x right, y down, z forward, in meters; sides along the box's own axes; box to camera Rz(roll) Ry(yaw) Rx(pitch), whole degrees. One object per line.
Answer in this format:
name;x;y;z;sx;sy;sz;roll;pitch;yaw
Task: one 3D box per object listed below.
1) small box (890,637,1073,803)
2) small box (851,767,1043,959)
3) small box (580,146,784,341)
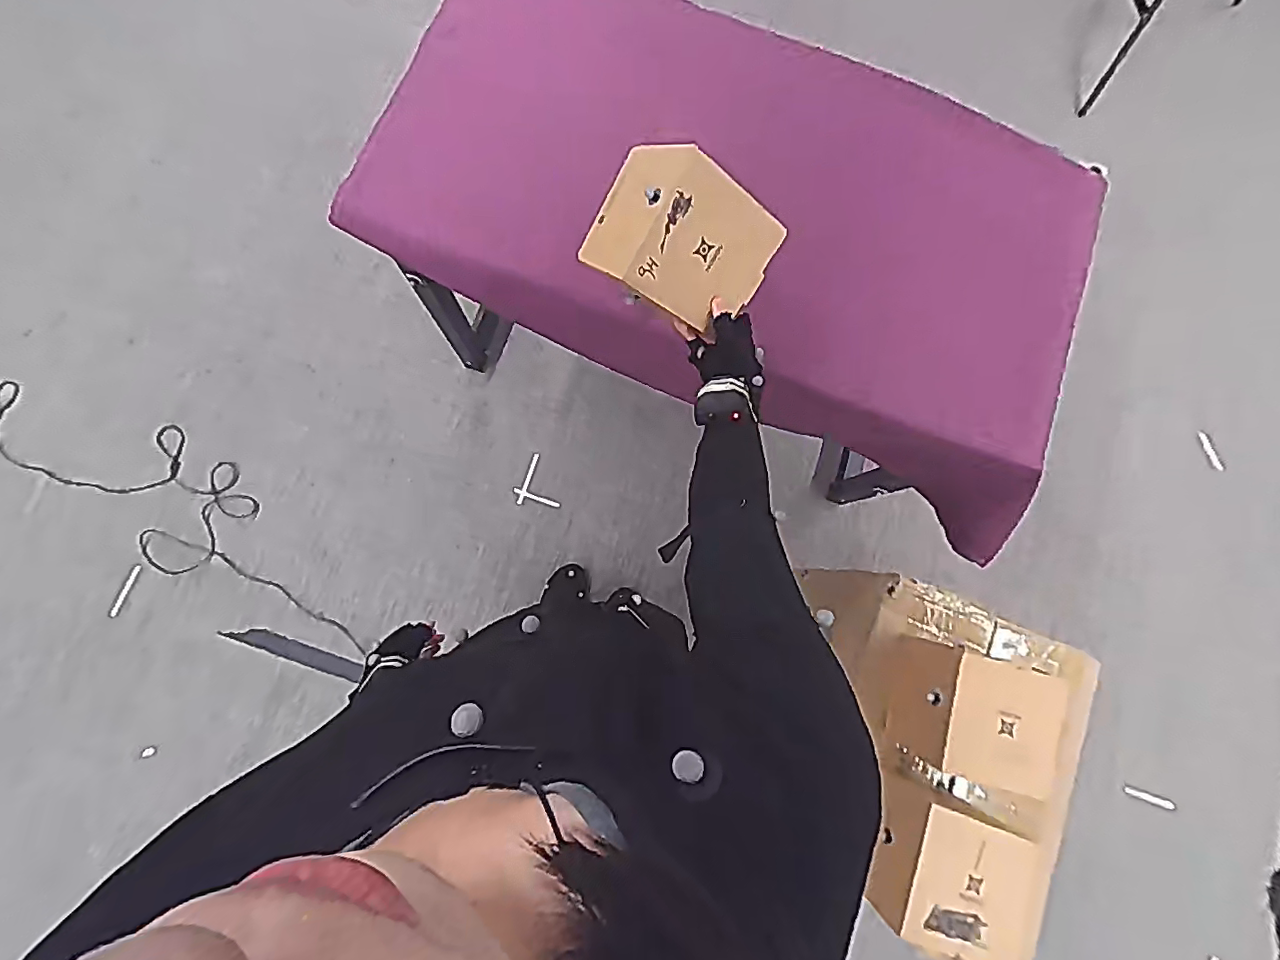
small box;0.516;0.356;0.840;0.168;0.176;0.179;16;82;0
small box;0.437;0.562;0.797;0.168;0.176;0.179;21;78;0
small box;0.049;-0.317;0.727;0.179;0.176;0.168;22;106;-35
